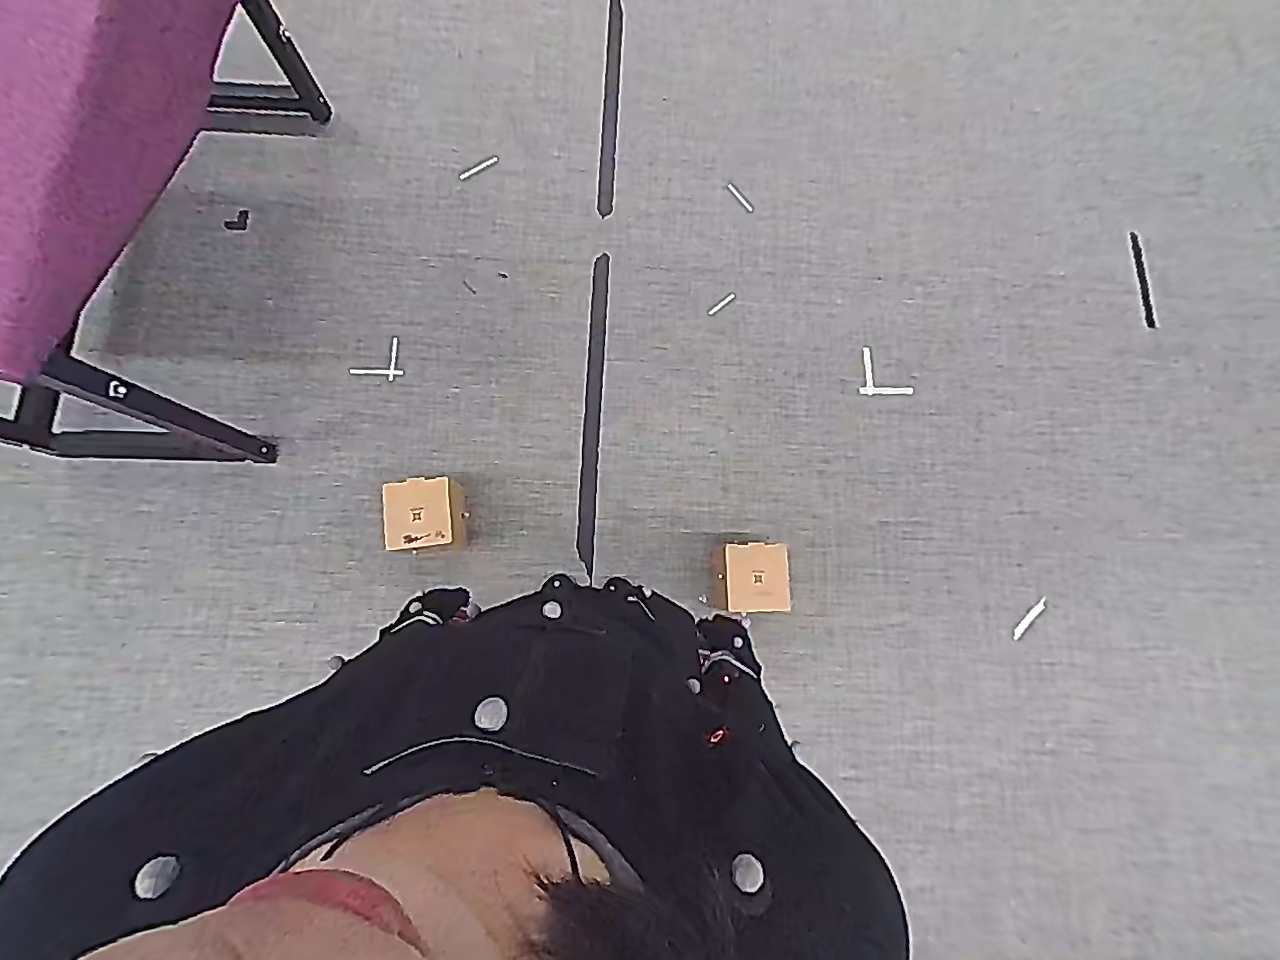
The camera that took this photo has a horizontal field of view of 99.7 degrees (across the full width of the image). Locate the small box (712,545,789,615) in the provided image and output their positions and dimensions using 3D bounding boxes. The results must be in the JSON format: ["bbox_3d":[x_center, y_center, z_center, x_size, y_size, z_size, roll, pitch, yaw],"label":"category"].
[{"bbox_3d":[0.293,0.273,1.466,0.168,0.176,0.179,-1,79,-3],"label":"small box"}]

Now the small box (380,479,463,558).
[{"bbox_3d":[-0.574,0.106,1.434,0.168,0.176,0.179,-7,78,-5],"label":"small box"}]
